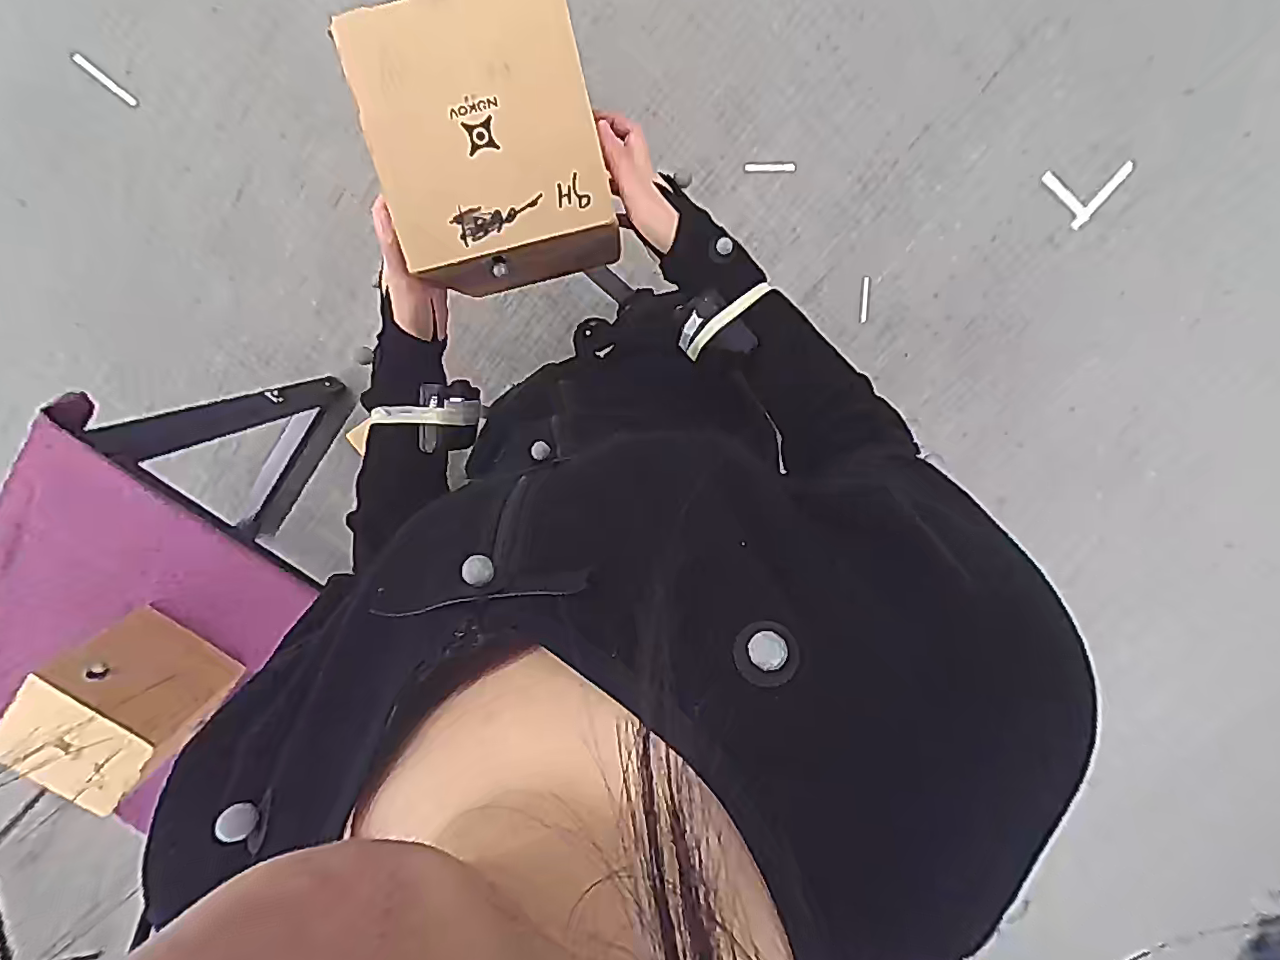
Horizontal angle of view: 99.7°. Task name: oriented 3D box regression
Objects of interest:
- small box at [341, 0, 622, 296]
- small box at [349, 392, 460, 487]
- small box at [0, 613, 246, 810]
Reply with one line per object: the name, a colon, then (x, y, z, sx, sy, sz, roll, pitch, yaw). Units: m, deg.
small box: (-0.113, -0.273, 0.467, 0.168, 0.176, 0.179, -12, 102, 2)
small box: (-0.604, -0.115, 1.412, 0.168, 0.176, 0.179, -32, 106, 10)
small box: (-0.739, 0.321, 0.787, 0.179, 0.176, 0.168, 40, 105, -12)
